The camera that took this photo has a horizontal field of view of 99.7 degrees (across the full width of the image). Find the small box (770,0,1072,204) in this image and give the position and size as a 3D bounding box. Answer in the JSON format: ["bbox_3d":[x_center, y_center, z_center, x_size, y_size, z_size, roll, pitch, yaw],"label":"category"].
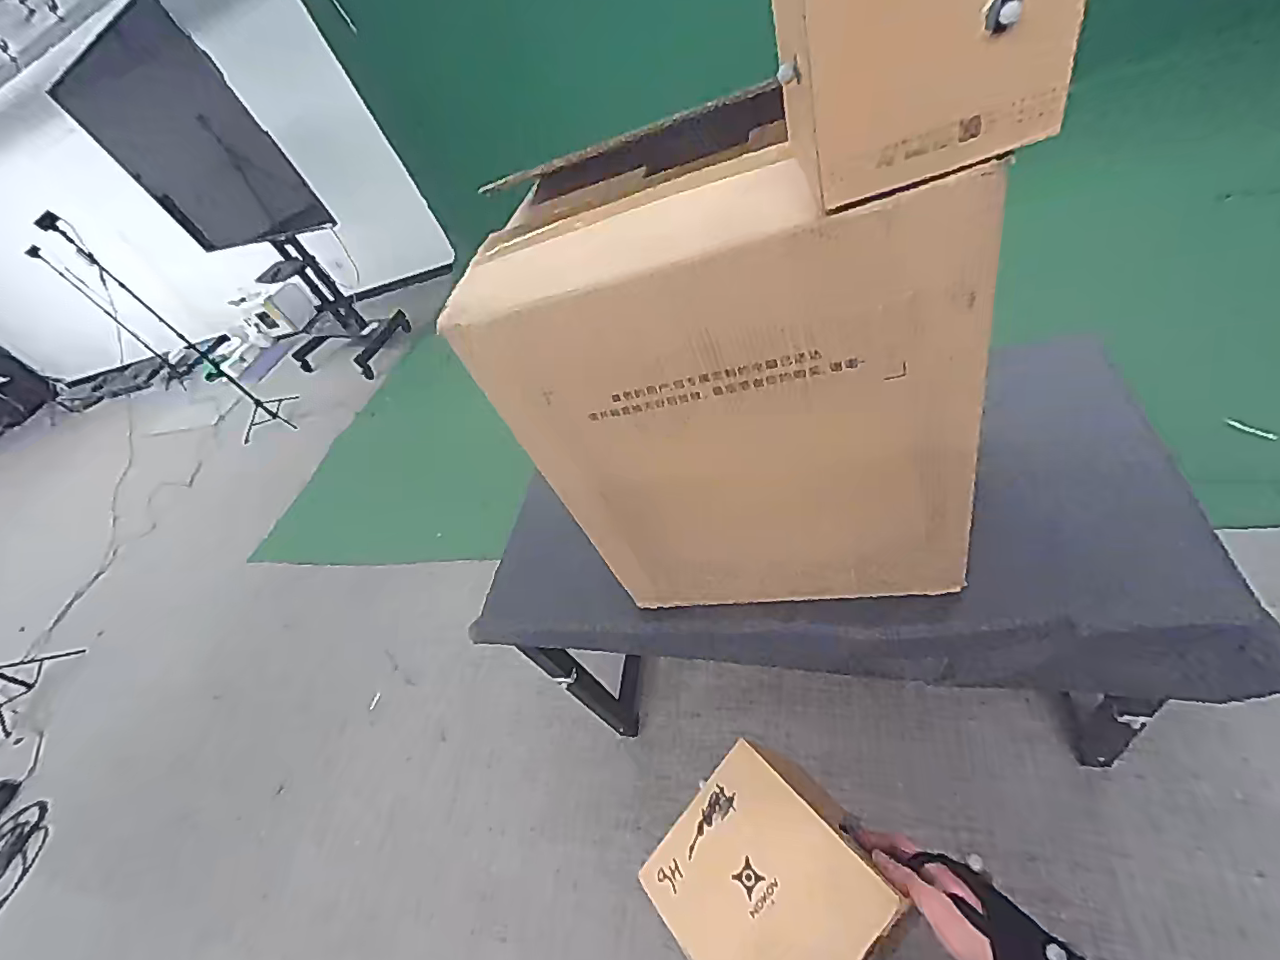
[{"bbox_3d":[0.198,-0.337,0.410,0.168,0.176,0.179,-11,45,14],"label":"small box"}]
